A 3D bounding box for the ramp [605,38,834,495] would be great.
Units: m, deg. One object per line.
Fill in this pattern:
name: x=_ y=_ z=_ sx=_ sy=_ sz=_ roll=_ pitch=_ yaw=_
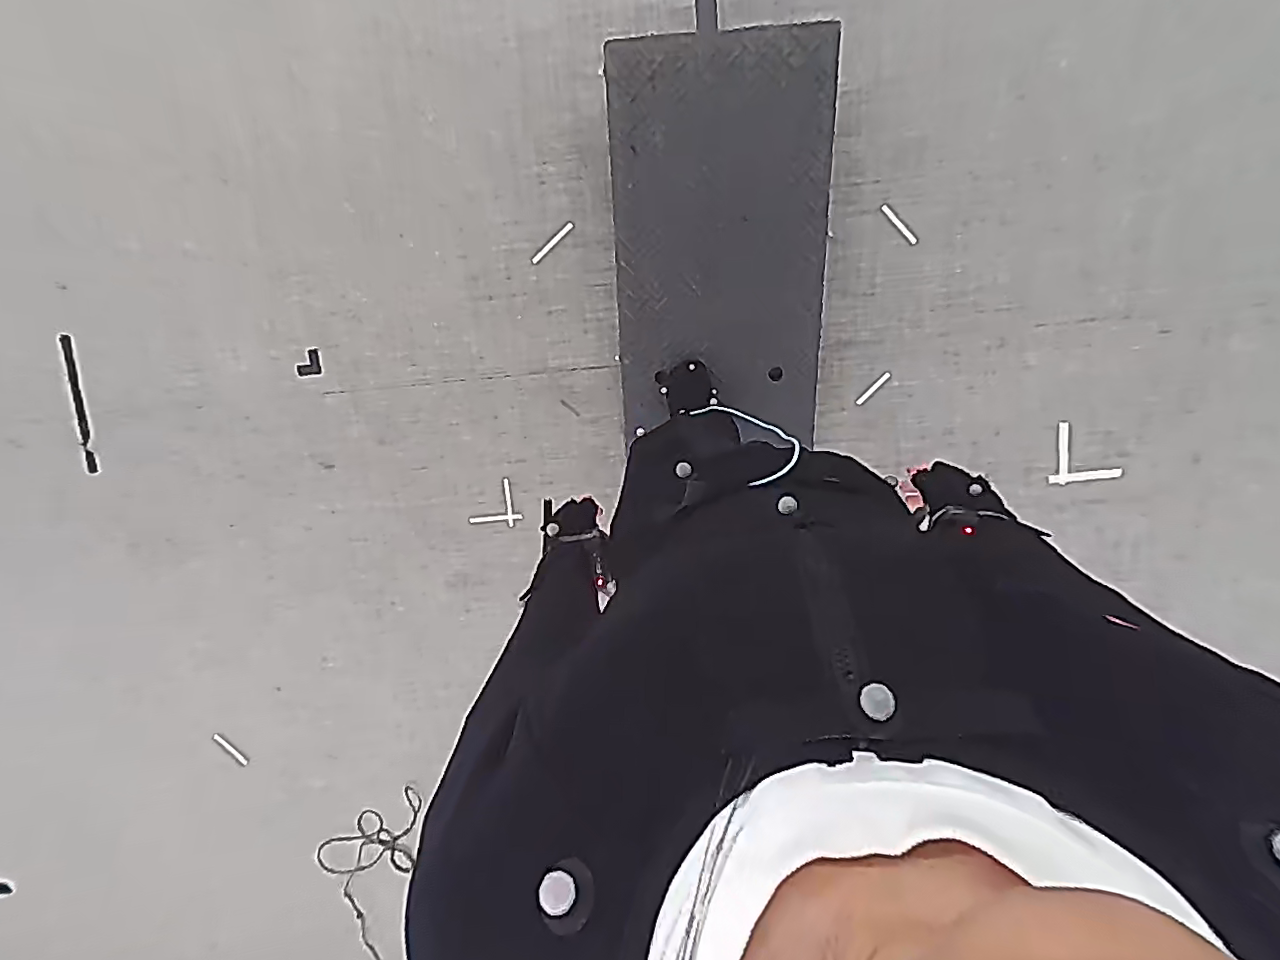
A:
ramp: x=0.202 y=-0.441 z=1.310 sx=0.509 sy=0.206 sz=0.991 roll=-4 pitch=99 yaw=5
